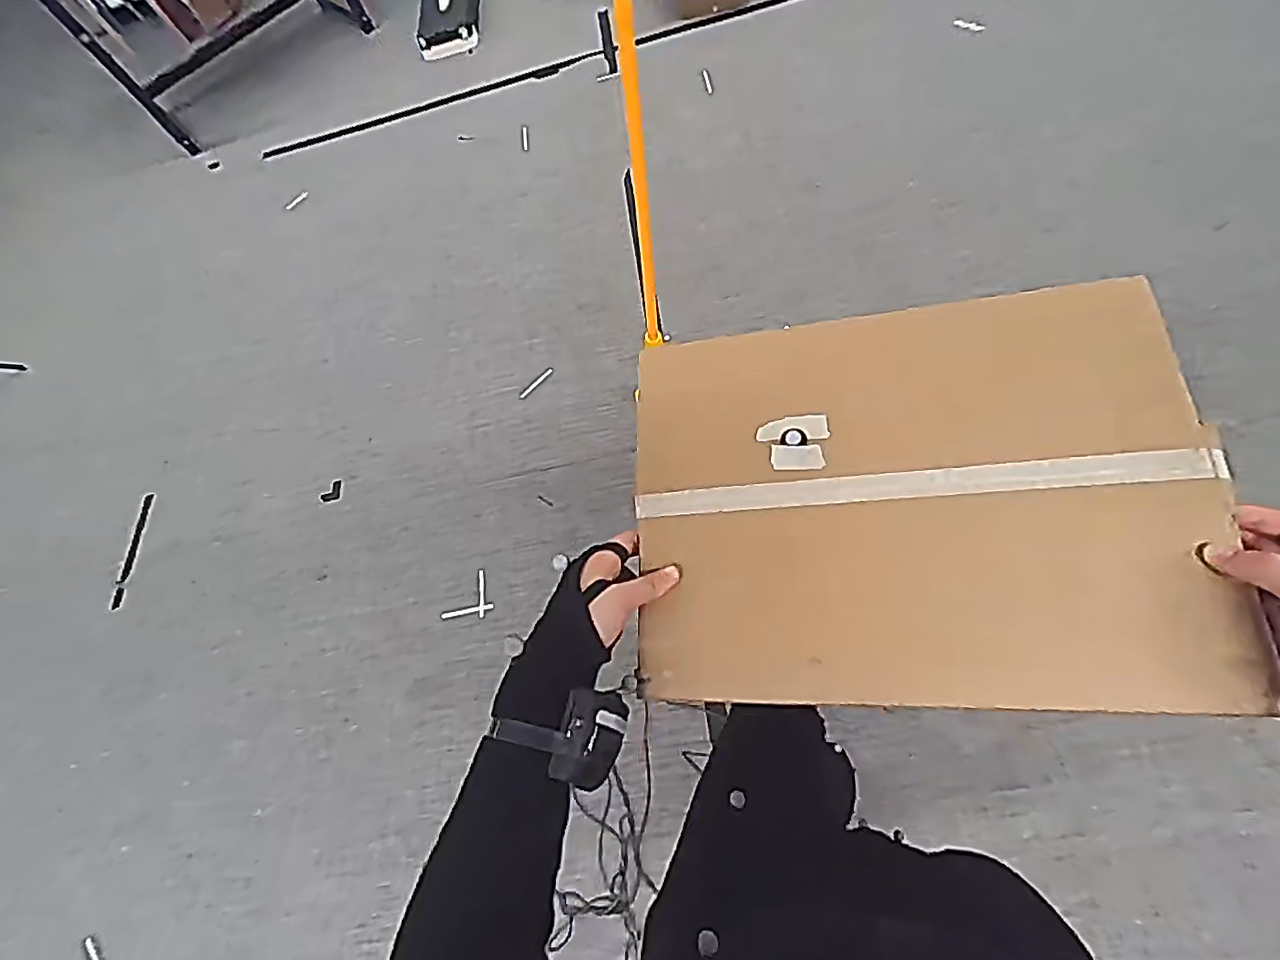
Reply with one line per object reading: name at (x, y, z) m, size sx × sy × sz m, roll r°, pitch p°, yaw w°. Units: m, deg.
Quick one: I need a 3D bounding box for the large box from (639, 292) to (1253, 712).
large box at (0.236, 0.059, 0.568) m, size 0.408 × 0.320 × 0.320 m, roll -6°, pitch 70°, yaw 17°
